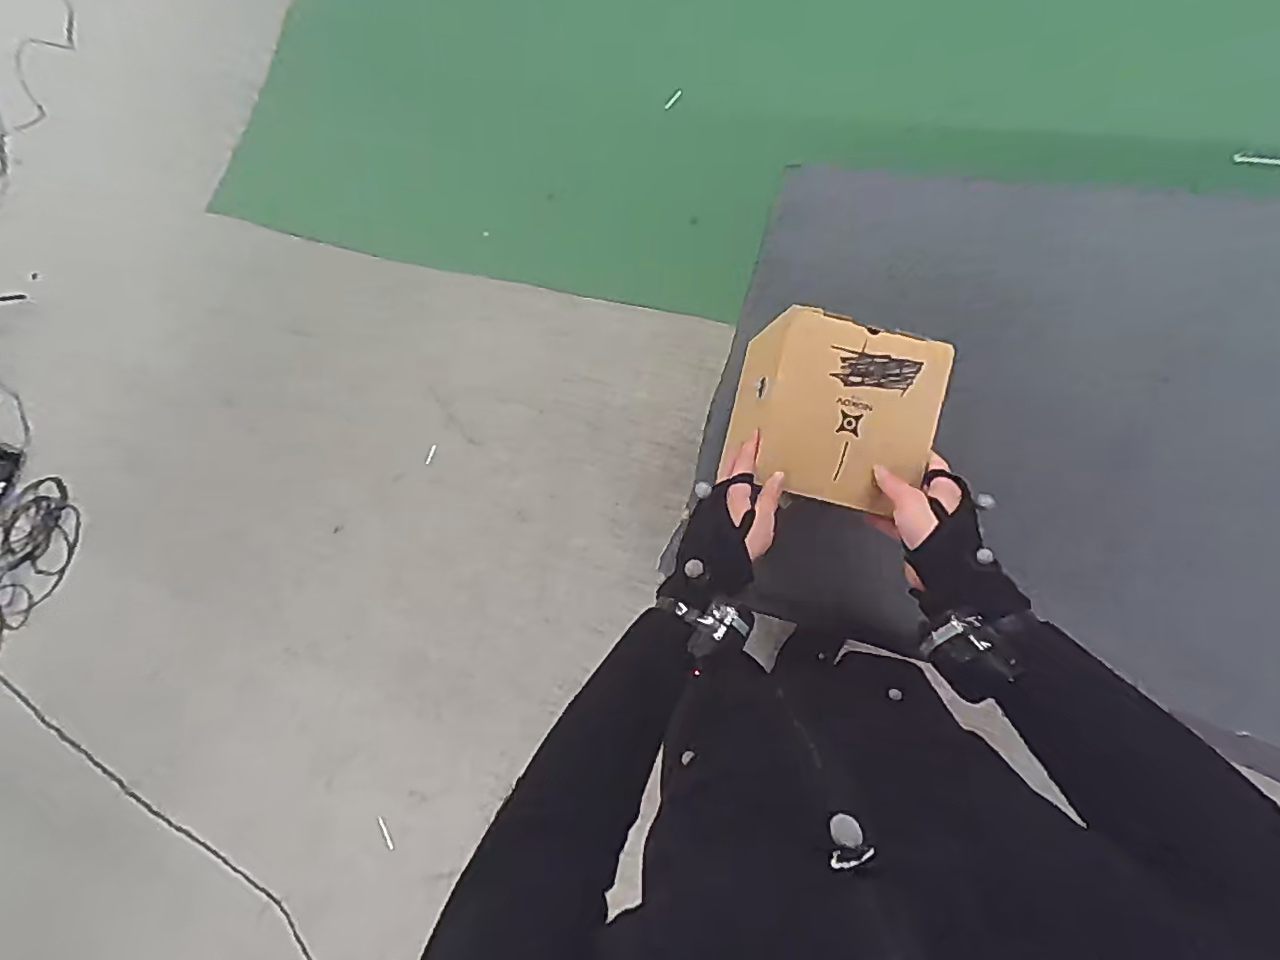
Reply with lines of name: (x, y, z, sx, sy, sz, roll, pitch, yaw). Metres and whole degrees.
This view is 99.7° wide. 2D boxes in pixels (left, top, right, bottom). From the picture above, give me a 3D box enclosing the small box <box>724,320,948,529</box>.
small box: (0.202, -0.055, 0.607, 0.168, 0.176, 0.179, 13, 92, -2)
